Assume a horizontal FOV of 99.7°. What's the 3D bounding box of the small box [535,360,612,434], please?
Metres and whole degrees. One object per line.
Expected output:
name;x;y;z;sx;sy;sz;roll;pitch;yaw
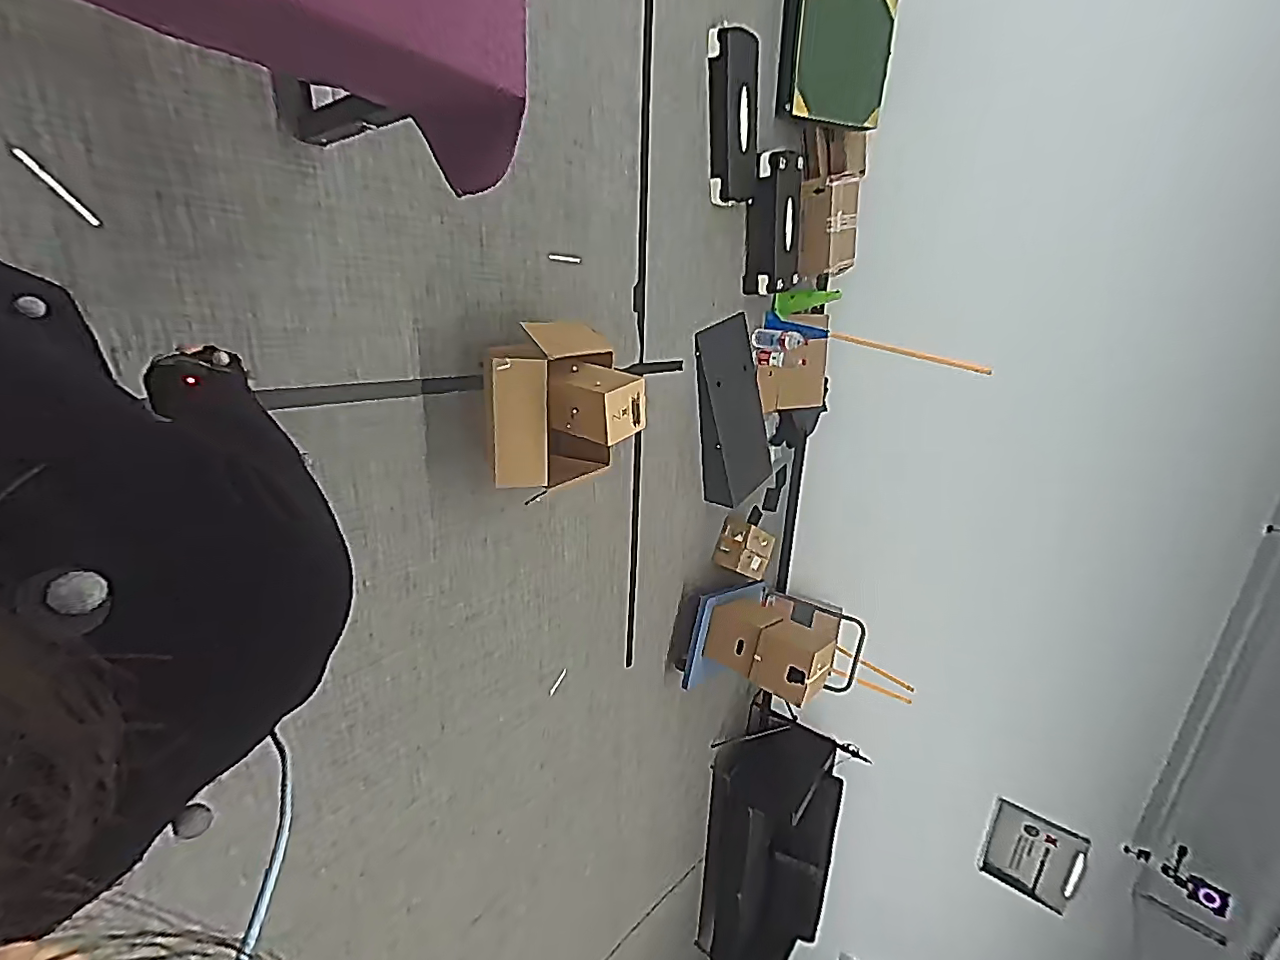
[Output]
small box;-0.219;-0.279;1.761;0.168;0.176;0.179;-41;137;-34
